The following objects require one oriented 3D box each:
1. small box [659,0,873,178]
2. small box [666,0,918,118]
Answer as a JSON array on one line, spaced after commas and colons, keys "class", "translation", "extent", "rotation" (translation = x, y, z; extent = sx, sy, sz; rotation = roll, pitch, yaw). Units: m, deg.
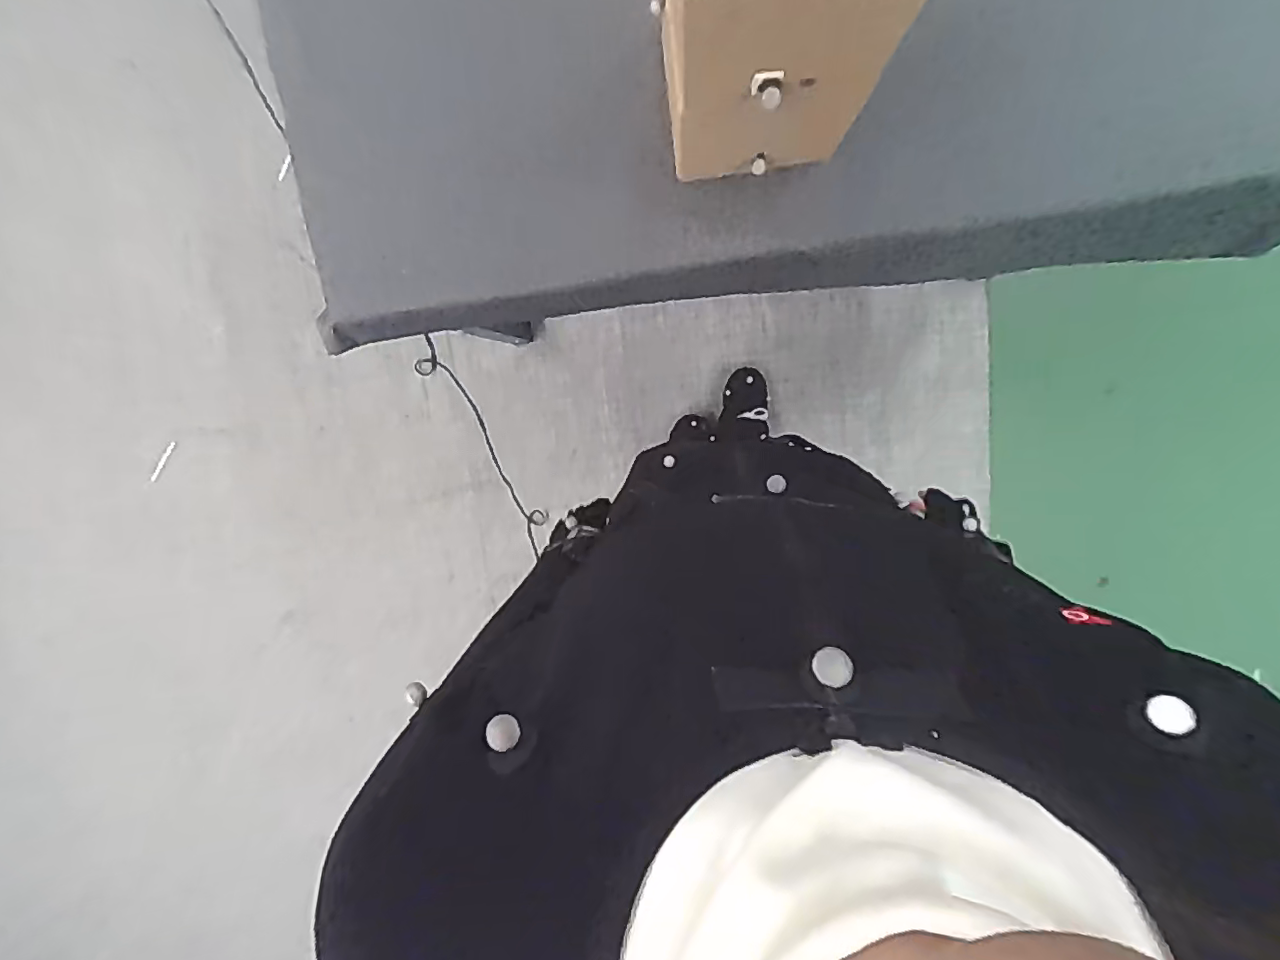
[{"class": "small box", "translation": [0.111, -0.425, 0.535], "extent": [0.179, 0.176, 0.168], "rotation": [-6, 99, 5]}, {"class": "small box", "translation": [0.097, -0.396, 0.376], "extent": [0.168, 0.176, 0.179], "rotation": [-6, 100, 8]}]
